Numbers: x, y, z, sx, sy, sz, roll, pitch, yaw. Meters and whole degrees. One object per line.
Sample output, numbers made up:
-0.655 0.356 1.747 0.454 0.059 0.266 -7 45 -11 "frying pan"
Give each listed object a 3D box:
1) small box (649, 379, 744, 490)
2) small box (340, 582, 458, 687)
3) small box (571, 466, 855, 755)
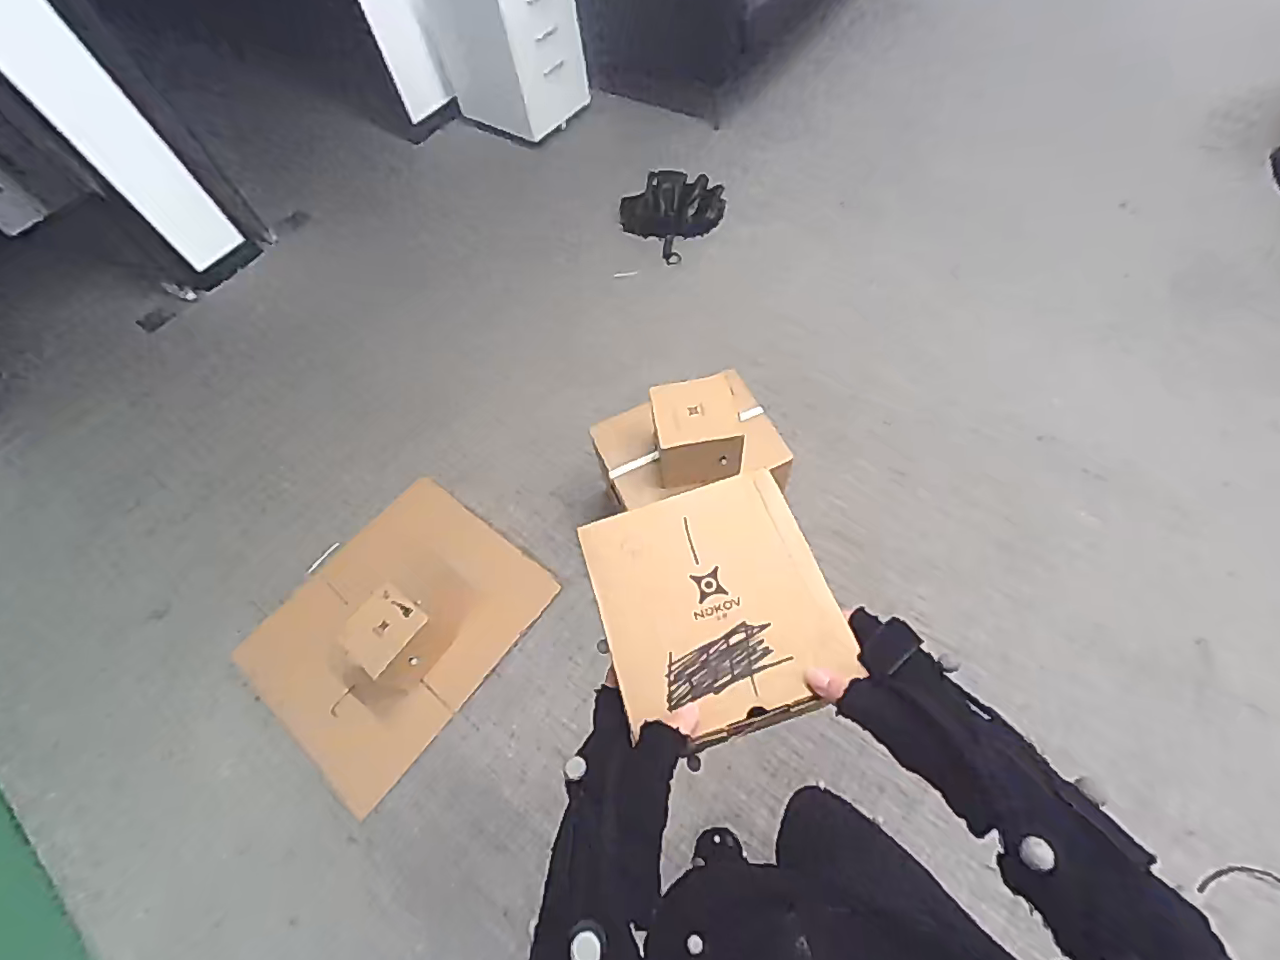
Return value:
0.124 -0.098 1.209 0.179 0.176 0.168 -11 59 1 "small box"
-0.593 0.393 1.355 0.168 0.176 0.179 27 68 22 "small box"
0.057 0.122 0.478 0.168 0.176 0.179 -21 62 -4 "small box"
